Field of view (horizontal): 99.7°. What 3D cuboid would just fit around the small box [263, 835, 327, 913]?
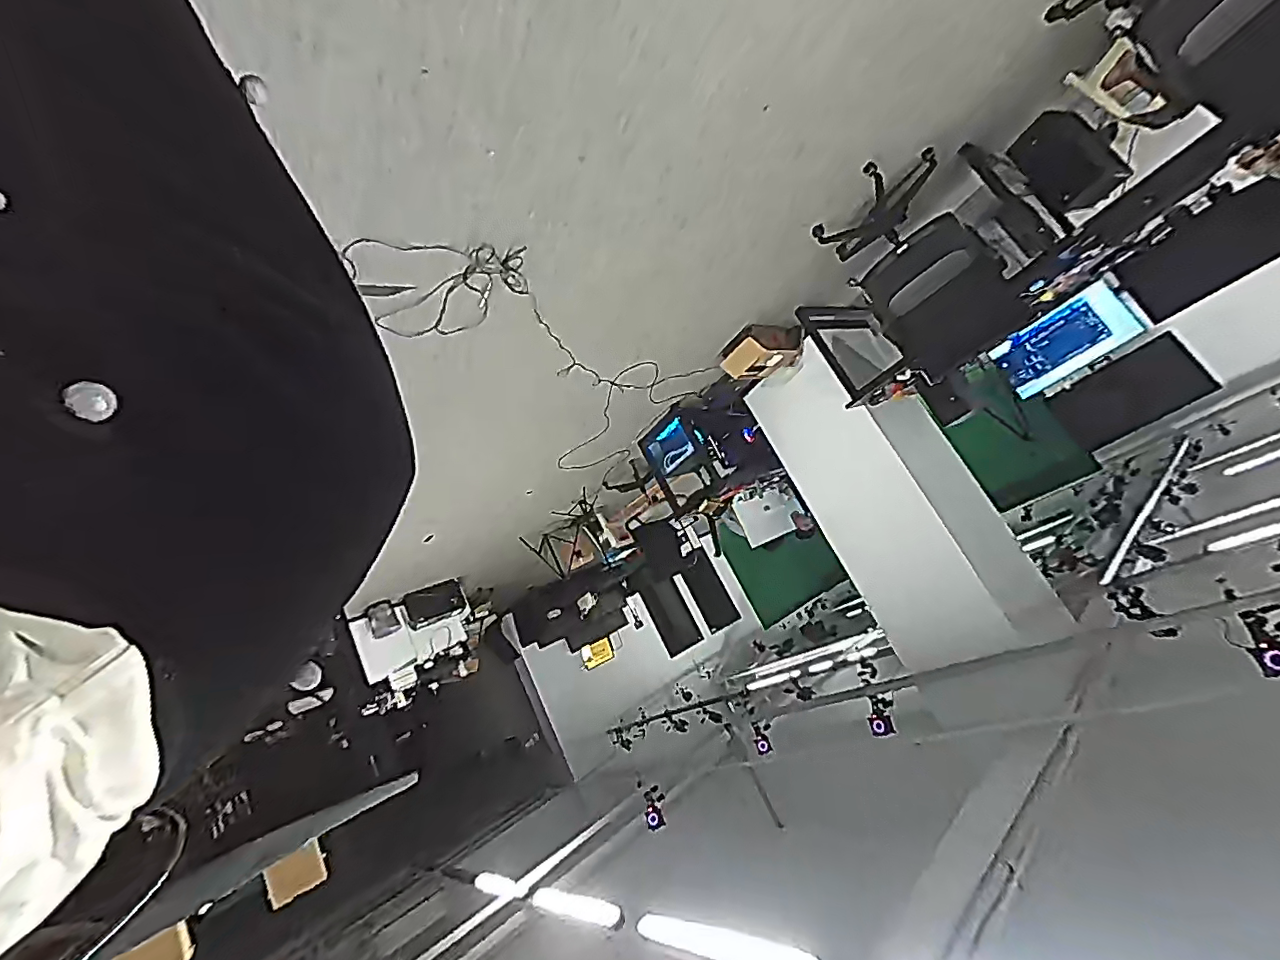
[{"bbox_3d":[-1.267,1.437,1.986,0.168,0.176,0.179,-17,162,-36],"label":"small box"}]

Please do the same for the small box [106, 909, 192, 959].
[{"bbox_3d":[-1.575,1.526,1.734,0.179,0.176,0.168,-15,161,-39],"label":"small box"}]
